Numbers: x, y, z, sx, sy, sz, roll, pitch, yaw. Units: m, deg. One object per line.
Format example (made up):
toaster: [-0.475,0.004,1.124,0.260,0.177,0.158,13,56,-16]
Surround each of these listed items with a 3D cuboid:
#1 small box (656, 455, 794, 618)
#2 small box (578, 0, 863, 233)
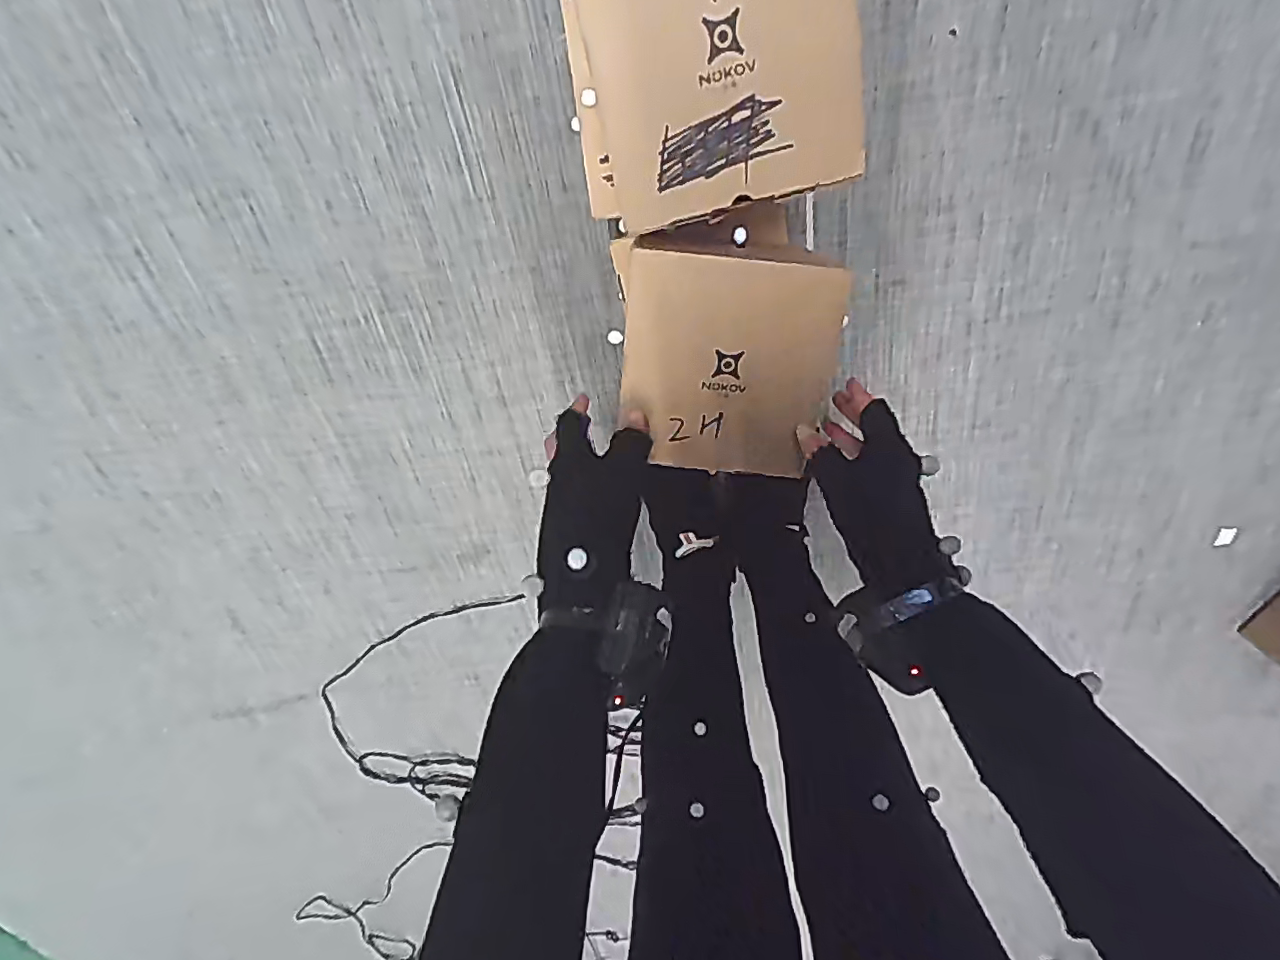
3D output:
small box: [0.120,0.082,0.831,0.168,0.176,0.179,-7,122,-5]
small box: [0.055,-0.300,0.402,0.168,0.176,0.179,-11,116,7]
